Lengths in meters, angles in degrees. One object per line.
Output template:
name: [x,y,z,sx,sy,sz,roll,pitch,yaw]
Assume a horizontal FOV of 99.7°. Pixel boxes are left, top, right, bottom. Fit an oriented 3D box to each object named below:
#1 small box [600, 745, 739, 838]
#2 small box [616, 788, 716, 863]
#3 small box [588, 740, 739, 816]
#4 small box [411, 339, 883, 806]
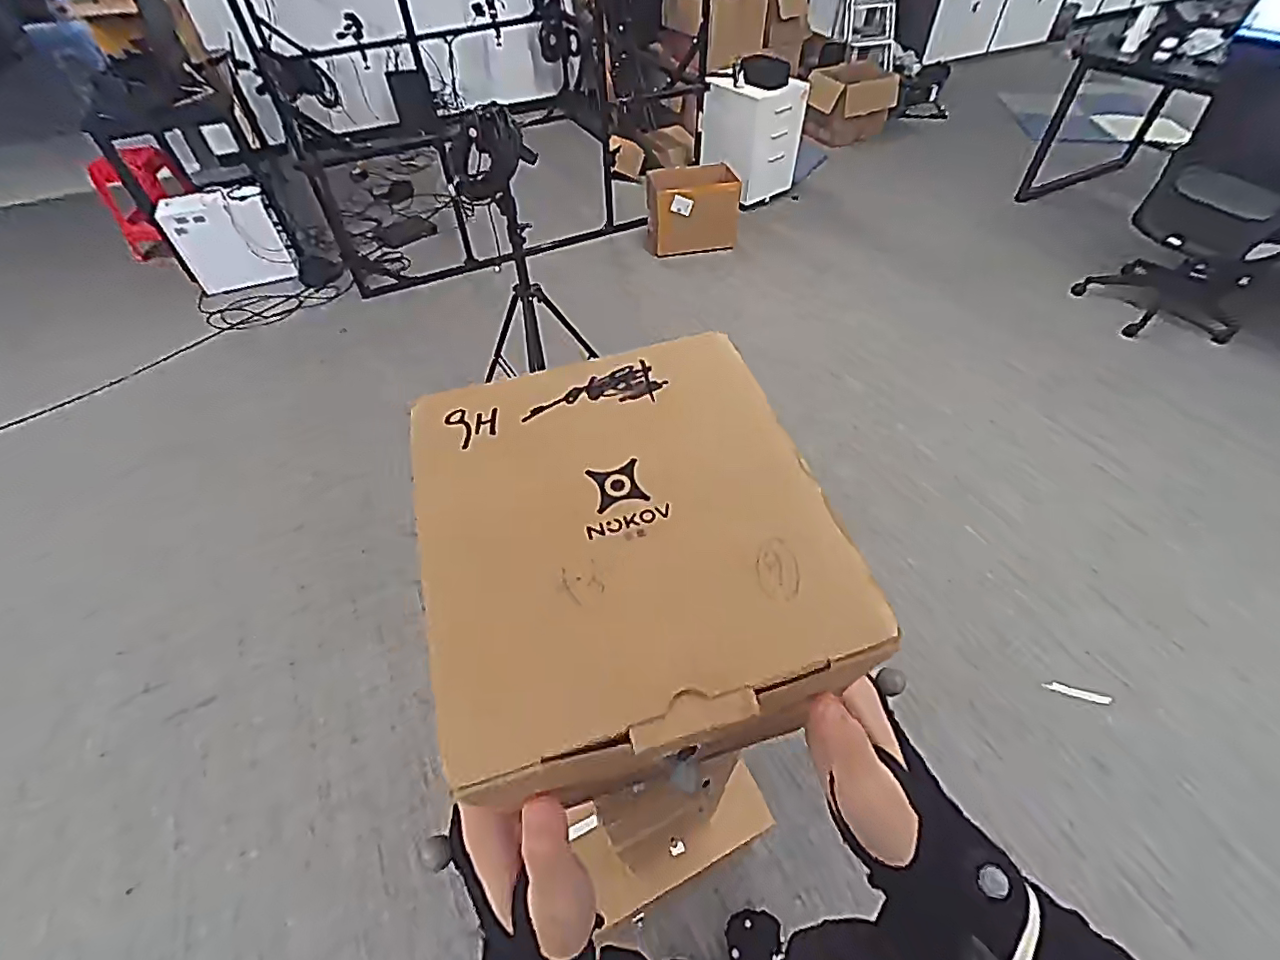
small box: [0.008,0.346,0.725,0.179,0.176,0.168,-20,52,-15]
small box: [0.017,0.557,0.977,0.179,0.176,0.168,-23,54,-18]
small box: [0.004,0.242,0.601,0.179,0.176,0.168,-20,53,-14]
small box: [-0.008,0.058,0.298,0.168,0.176,0.179,-15,58,-9]
